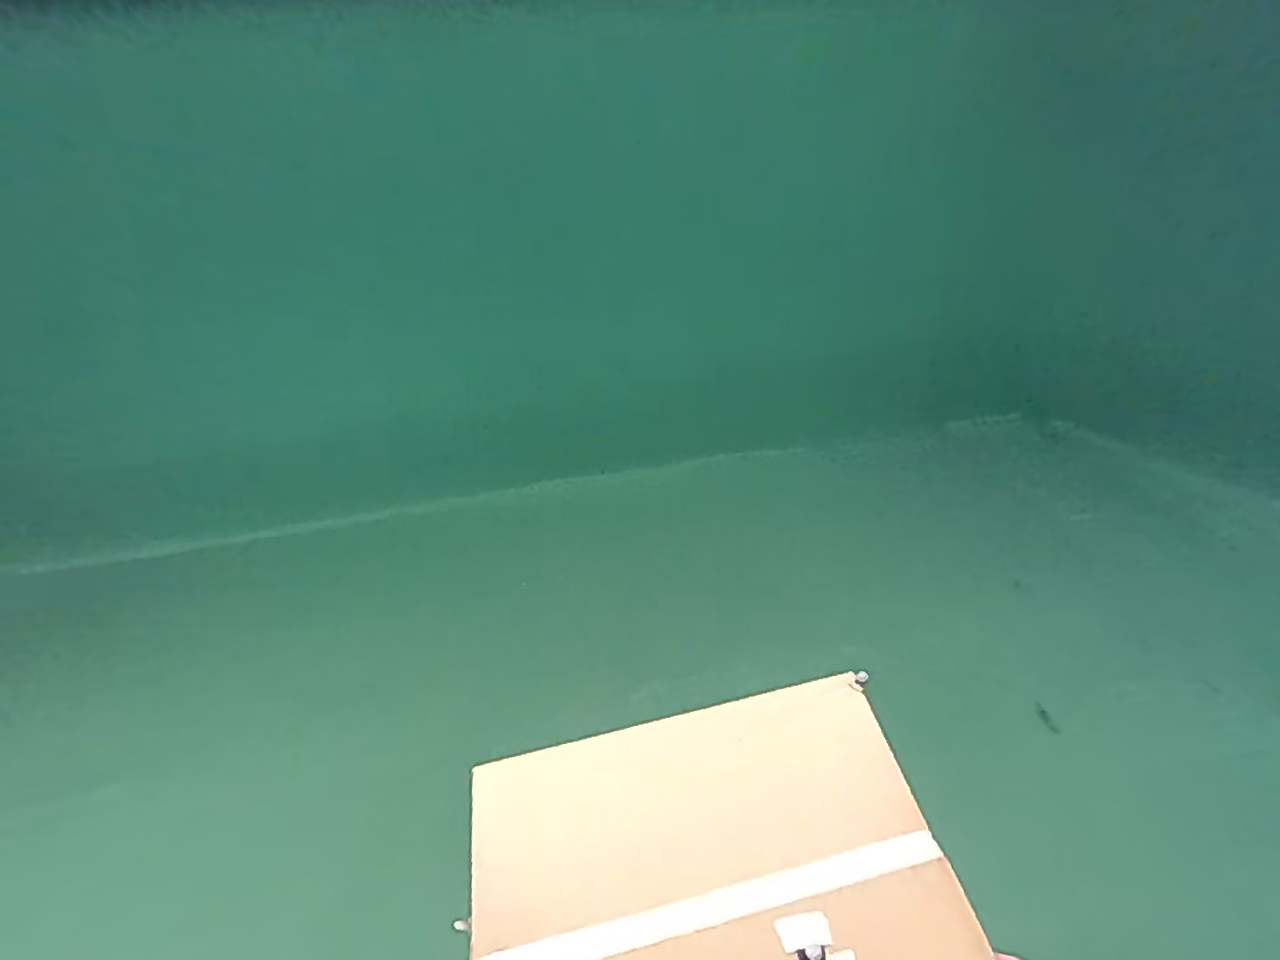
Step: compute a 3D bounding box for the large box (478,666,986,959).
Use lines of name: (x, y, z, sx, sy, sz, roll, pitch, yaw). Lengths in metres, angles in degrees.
large box: (0.071, 0.452, 0.582, 0.408, 0.320, 0.320, -12, 50, -5)
